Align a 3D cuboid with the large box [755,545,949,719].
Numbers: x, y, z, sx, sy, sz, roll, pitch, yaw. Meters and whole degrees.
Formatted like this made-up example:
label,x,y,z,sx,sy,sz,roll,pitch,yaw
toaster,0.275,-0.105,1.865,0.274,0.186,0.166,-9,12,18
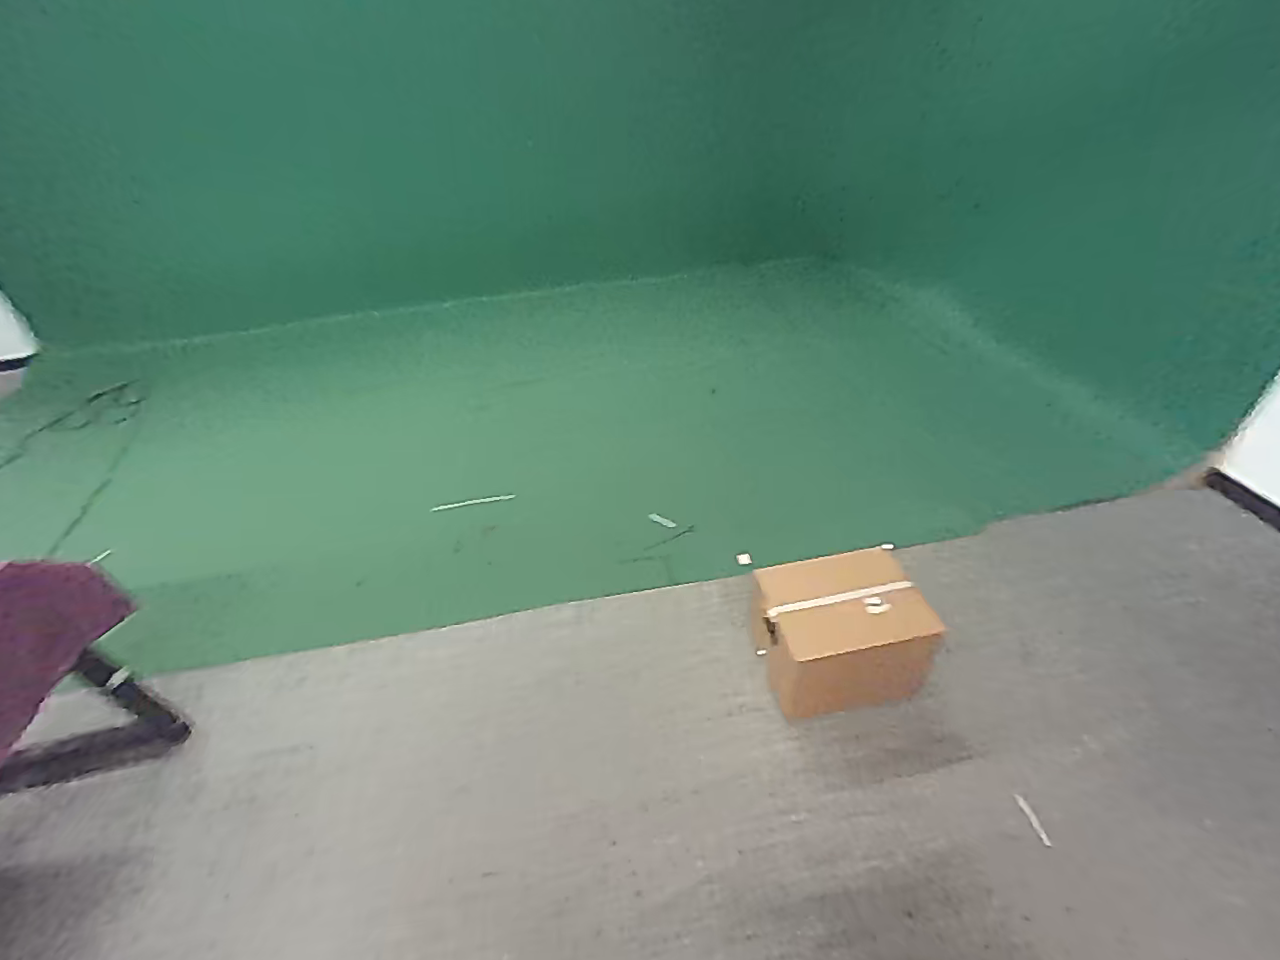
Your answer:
label,x,y,z,sx,sy,sz,roll,pitch,yaw
large box,0.578,0.435,1.560,0.408,0.320,0.320,-9,39,-5
